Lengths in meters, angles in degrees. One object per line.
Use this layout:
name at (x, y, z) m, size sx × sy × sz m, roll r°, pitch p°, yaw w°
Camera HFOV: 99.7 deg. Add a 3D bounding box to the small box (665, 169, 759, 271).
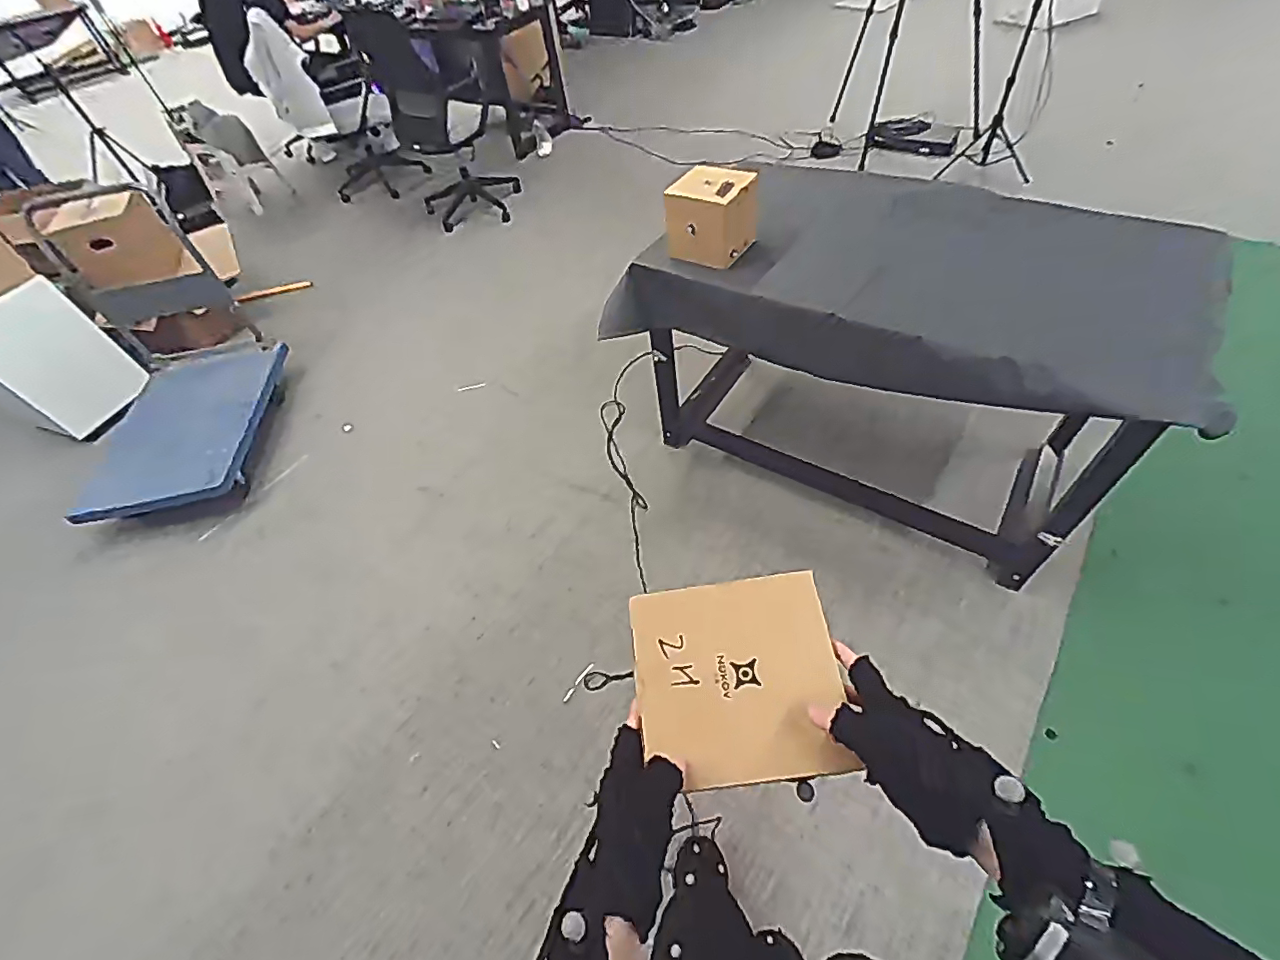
small box at (0.184, -0.654, 1.368) m, size 0.179 × 0.176 × 0.168 m, roll 25°, pitch 59°, yaw 26°
